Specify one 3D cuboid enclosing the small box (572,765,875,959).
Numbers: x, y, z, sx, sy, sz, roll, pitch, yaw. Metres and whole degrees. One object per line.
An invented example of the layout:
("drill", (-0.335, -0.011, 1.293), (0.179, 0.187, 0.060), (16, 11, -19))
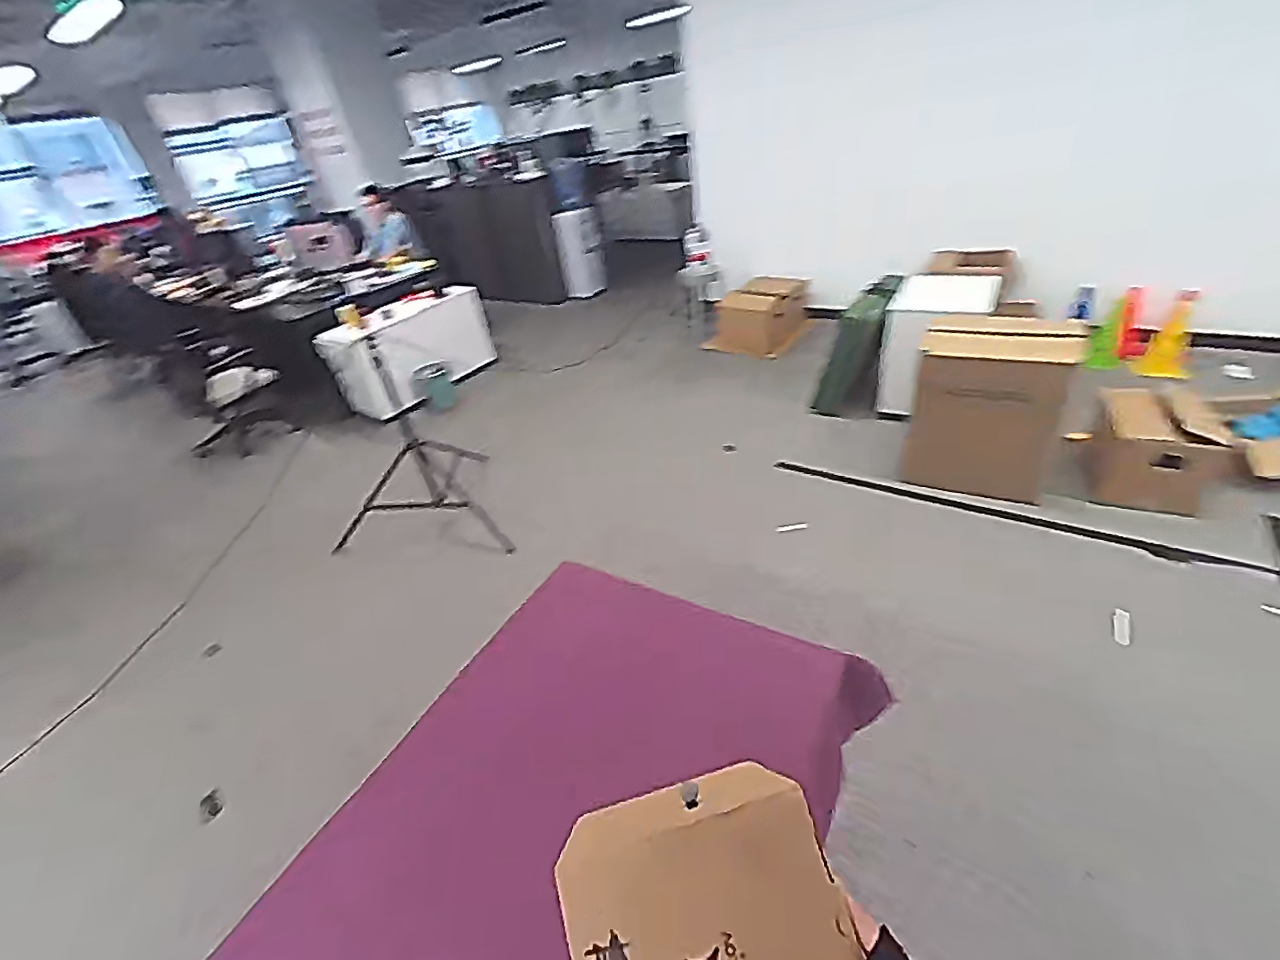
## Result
("small box", (0.056, 0.330, 0.407), (0.179, 0.176, 0.168), (-14, 67, -6))
